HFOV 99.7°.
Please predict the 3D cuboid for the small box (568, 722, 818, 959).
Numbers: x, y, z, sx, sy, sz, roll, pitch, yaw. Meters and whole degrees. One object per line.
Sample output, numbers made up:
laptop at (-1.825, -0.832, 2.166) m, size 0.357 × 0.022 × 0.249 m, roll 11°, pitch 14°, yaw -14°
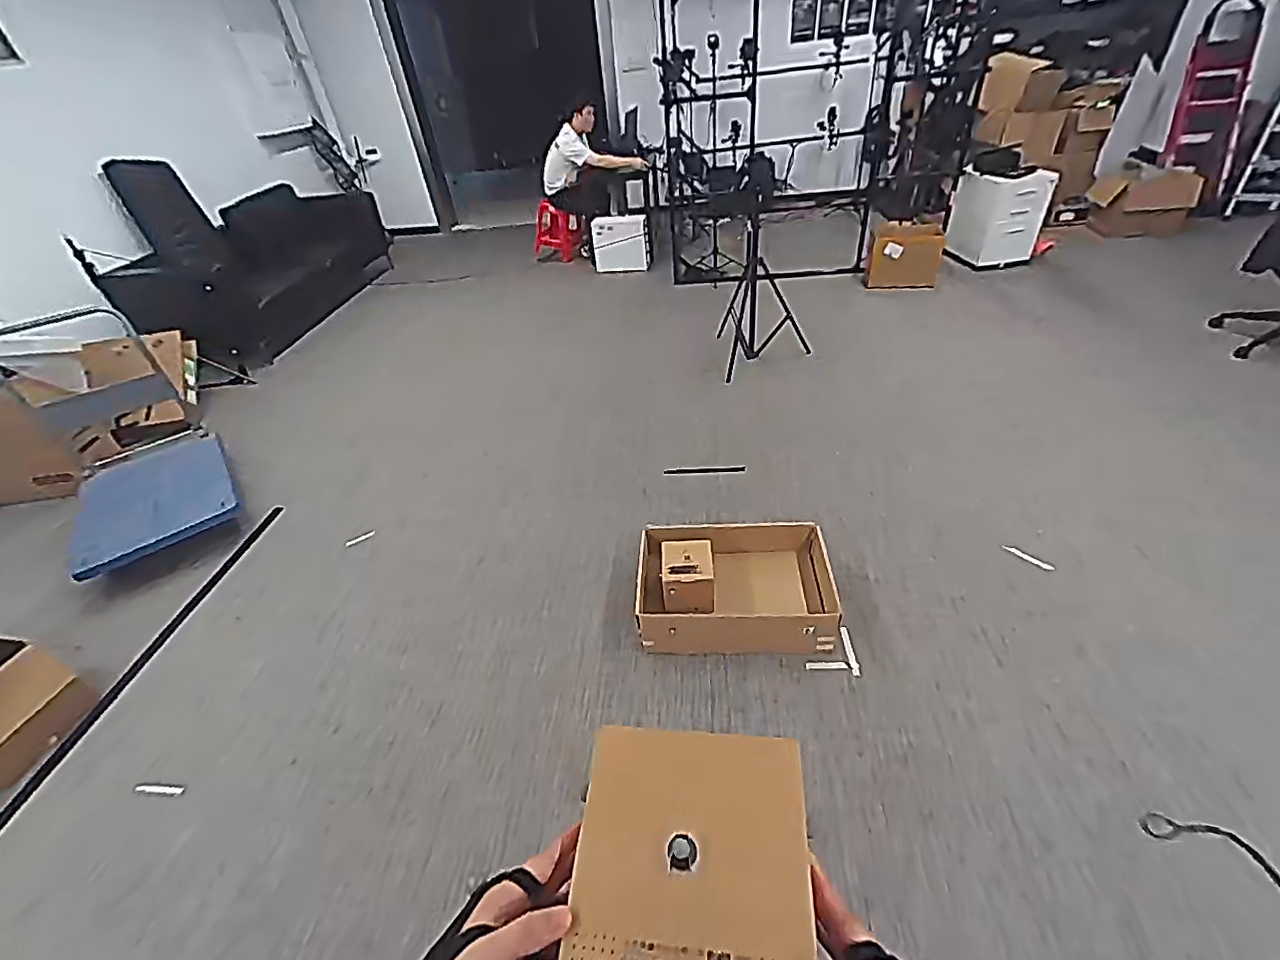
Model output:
small box at (0.048, 0.321, 0.439) m, size 0.168 × 0.179 × 0.176 m, roll 0°, pitch 42°, yaw 11°
